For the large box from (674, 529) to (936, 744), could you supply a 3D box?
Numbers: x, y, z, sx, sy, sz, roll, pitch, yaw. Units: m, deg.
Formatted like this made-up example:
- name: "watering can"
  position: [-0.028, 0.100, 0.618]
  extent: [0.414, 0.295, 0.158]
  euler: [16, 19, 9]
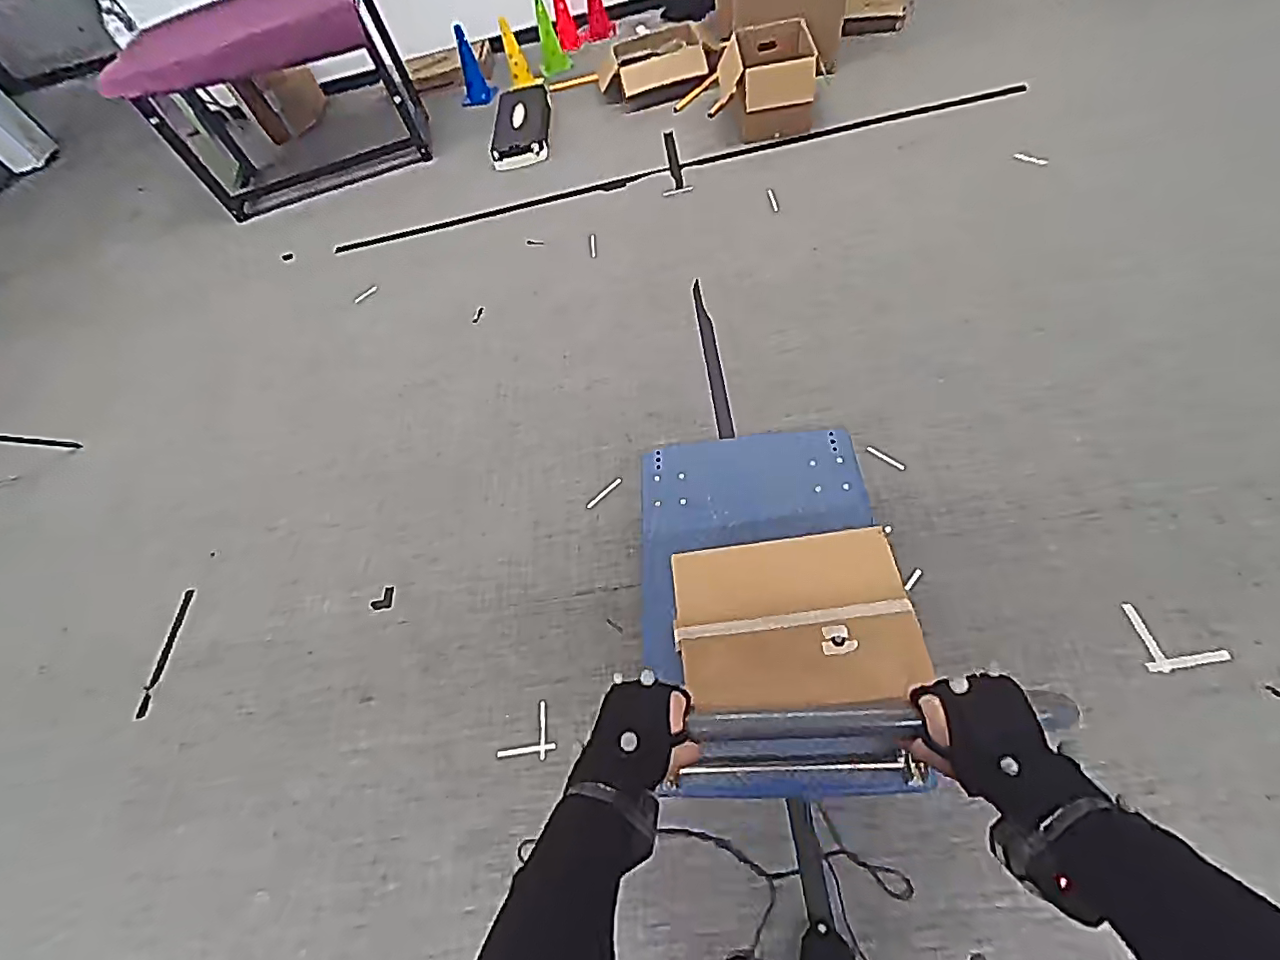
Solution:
- name: "large box"
  position: [0.296, 0.330, 1.094]
  extent: [0.408, 0.320, 0.320]
  euler: [-9, 58, 5]
